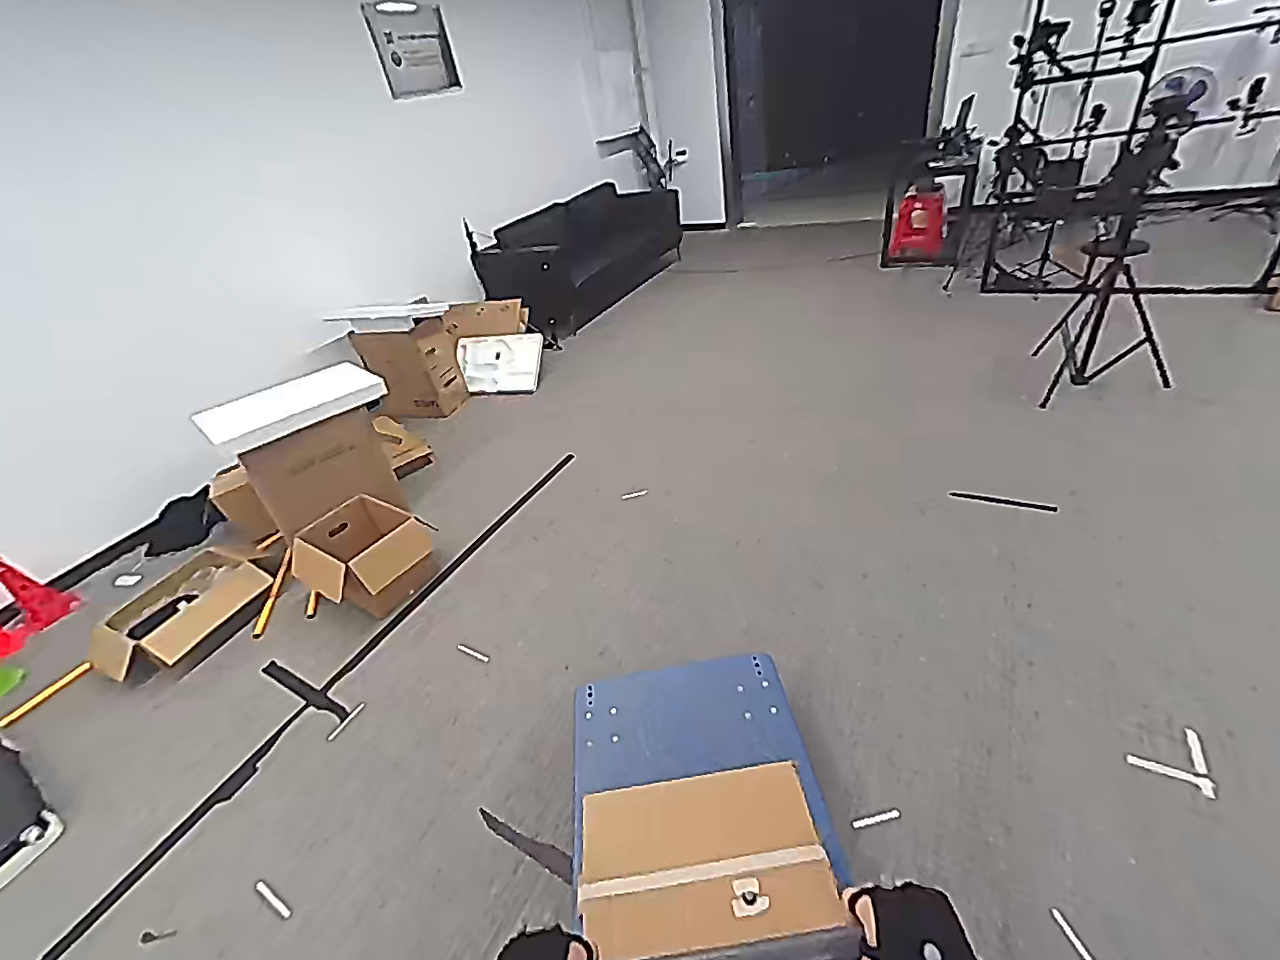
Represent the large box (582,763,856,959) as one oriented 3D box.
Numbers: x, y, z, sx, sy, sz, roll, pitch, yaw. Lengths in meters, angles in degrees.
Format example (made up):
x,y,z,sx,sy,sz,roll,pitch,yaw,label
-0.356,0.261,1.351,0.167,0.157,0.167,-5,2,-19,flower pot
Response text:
x,y,z,sx,sy,sz,roll,pitch,yaw,label
0.121,0.774,0.975,0.408,0.320,0.320,-9,35,0,large box
